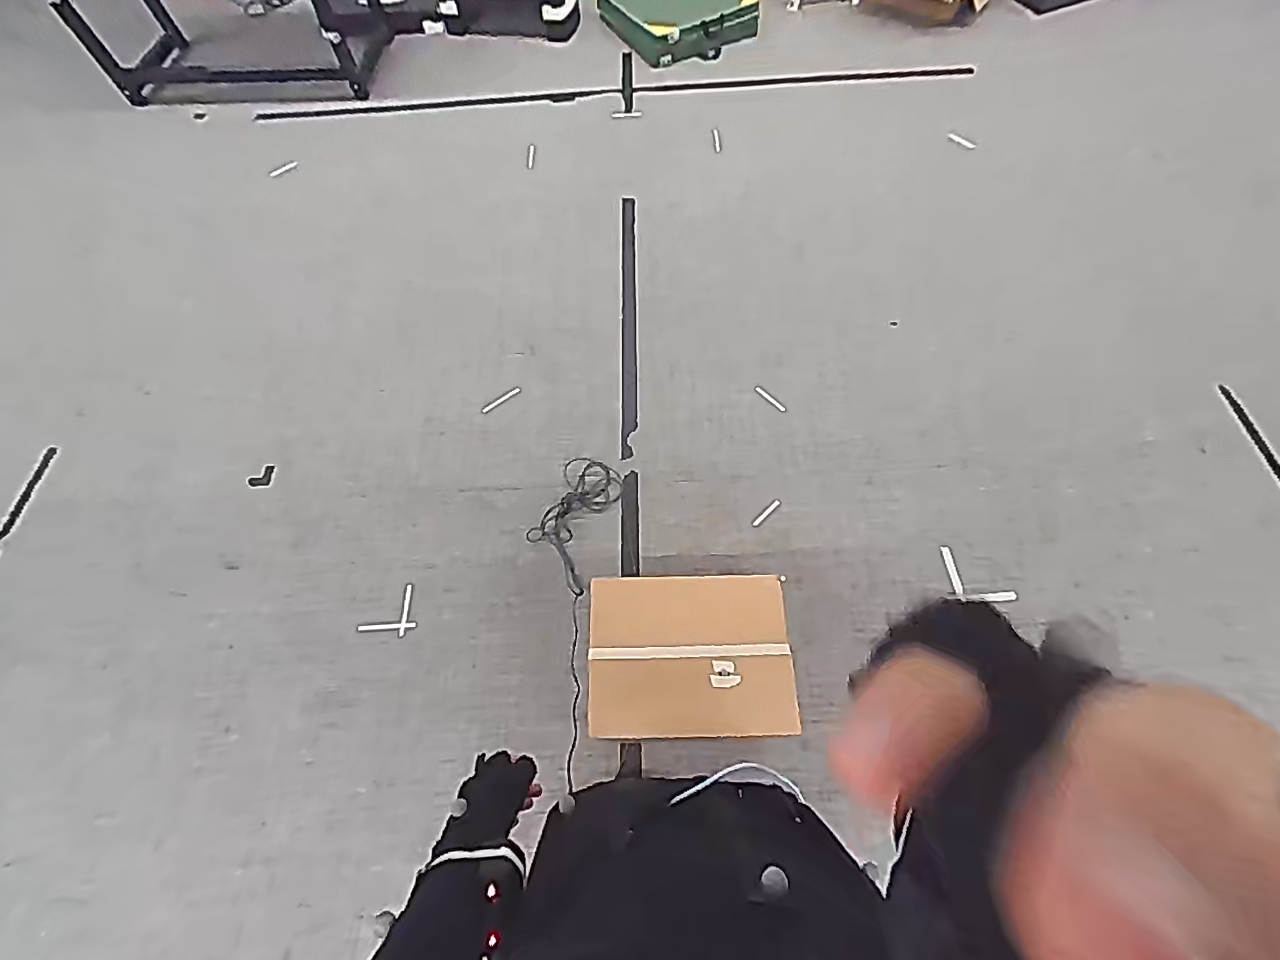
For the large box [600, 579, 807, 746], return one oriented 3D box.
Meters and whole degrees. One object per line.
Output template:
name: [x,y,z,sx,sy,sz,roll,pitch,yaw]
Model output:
large box: [0.118,0.422,1.223,0.408,0.320,0.320,-1,63,0]
